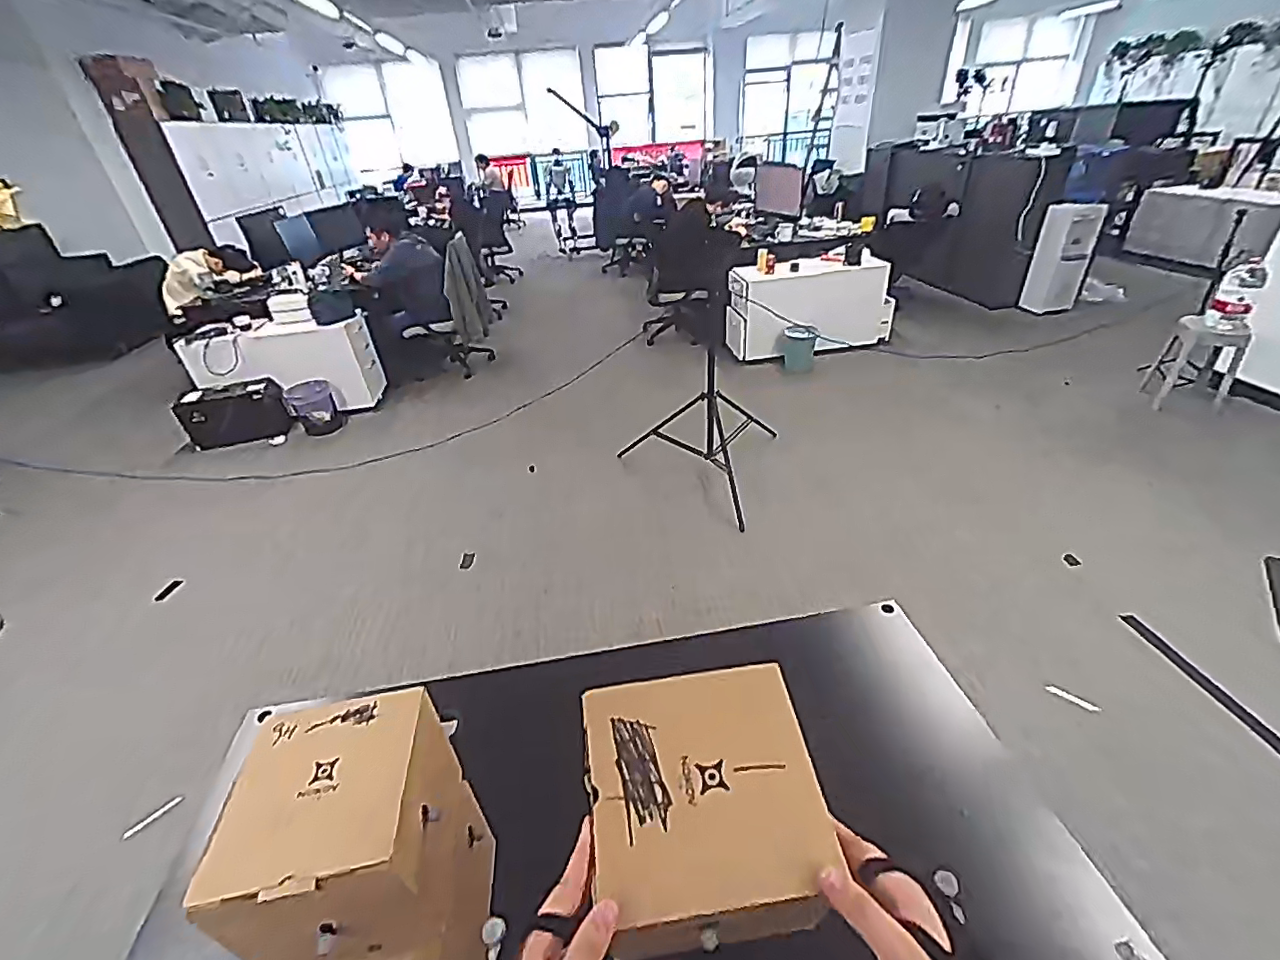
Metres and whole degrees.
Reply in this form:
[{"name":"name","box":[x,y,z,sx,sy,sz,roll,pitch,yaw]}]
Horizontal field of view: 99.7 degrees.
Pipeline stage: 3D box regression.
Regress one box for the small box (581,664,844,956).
[{"name":"small box","box":[0.049,0.287,0.471,0.179,0.176,0.168,-7,43,-3]}]

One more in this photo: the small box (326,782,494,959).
[{"name":"small box","box":[-0.275,0.496,0.633,0.168,0.176,0.179,-8,33,-3]}]

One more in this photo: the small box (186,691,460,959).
[{"name":"small box","box":[-0.292,0.354,0.552,0.168,0.176,0.179,-9,34,-6]}]
